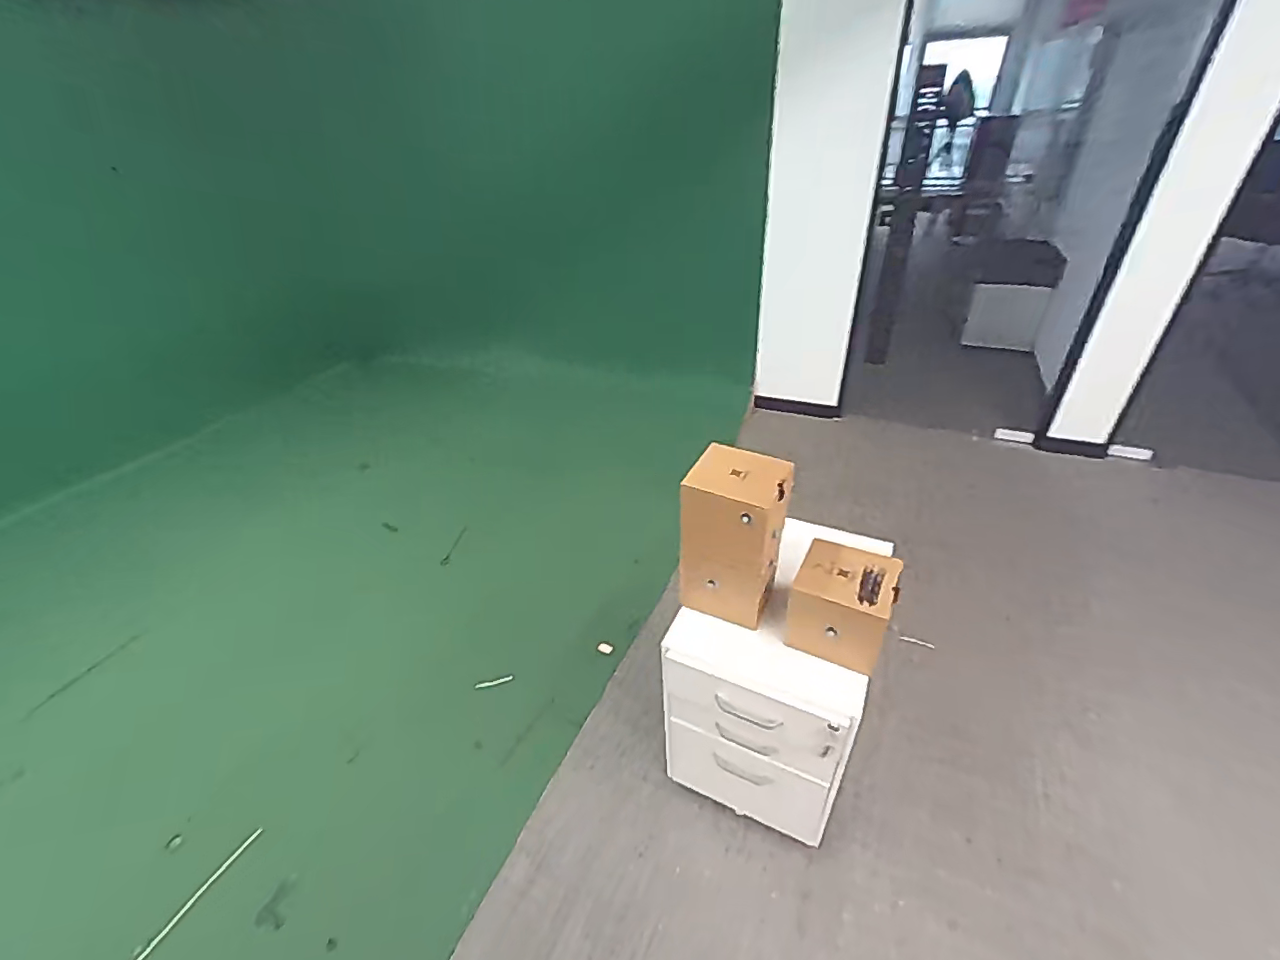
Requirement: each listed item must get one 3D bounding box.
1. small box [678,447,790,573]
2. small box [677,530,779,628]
[{"bbox_3d":[0.185,0.060,1.092,0.179,0.176,0.168,17,39,22],"label":"small box"},{"bbox_3d":[0.190,0.195,1.184,0.179,0.176,0.168,14,38,22],"label":"small box"}]
